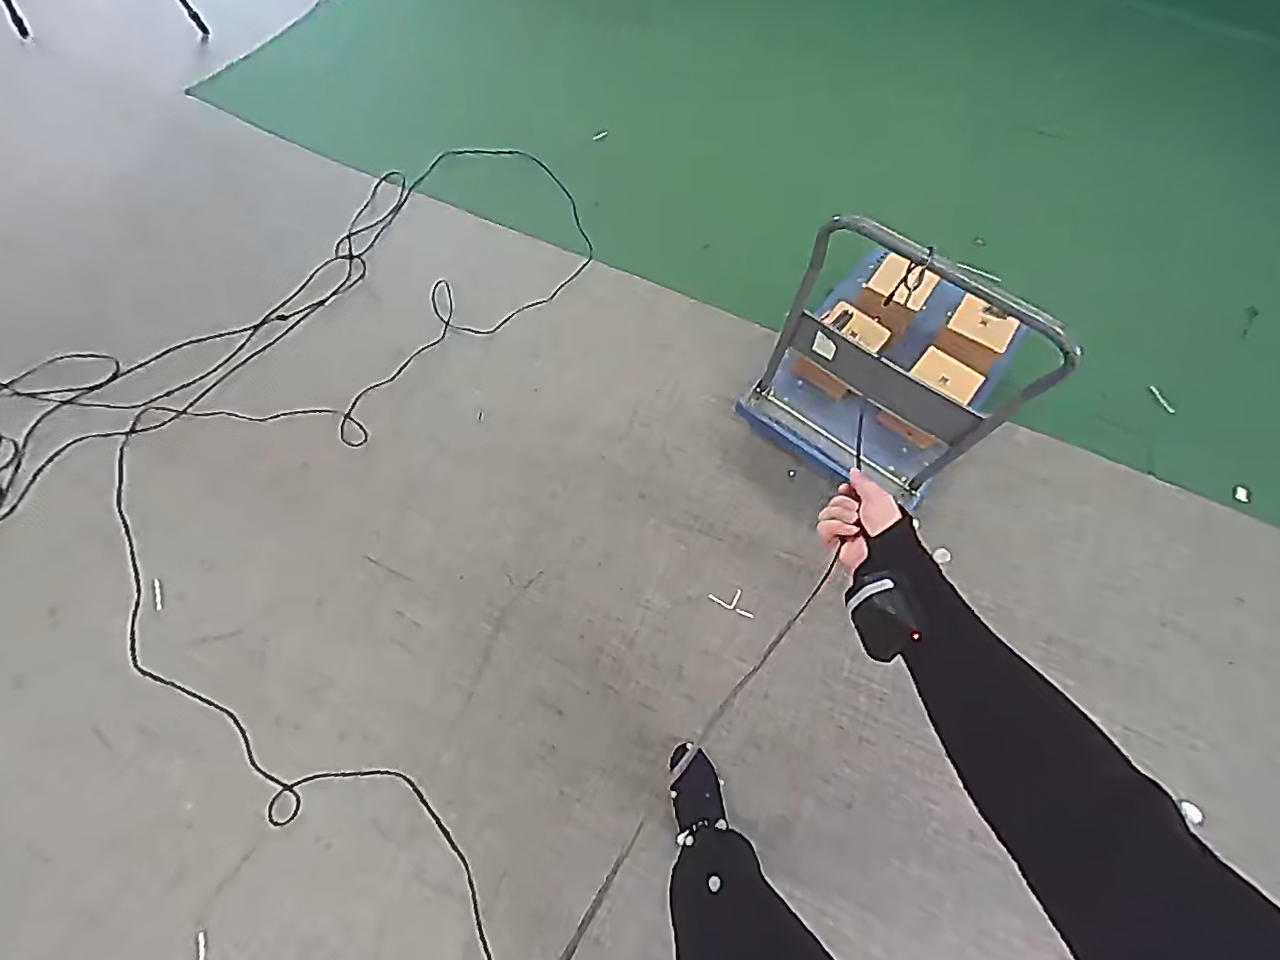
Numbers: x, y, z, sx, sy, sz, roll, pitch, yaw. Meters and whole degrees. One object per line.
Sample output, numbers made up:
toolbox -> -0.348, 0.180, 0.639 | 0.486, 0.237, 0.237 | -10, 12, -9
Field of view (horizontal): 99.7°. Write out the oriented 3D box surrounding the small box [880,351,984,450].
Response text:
small box -> 0.810, -0.220, 1.518 | 0.168, 0.176, 0.179 | 38, 69, 15

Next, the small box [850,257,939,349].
small box -> 0.777, -0.541, 1.670 | 0.168, 0.176, 0.179 | 34, 68, 13

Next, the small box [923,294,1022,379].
small box -> 0.981, -0.408, 1.611 | 0.168, 0.176, 0.179 | 33, 69, 15
